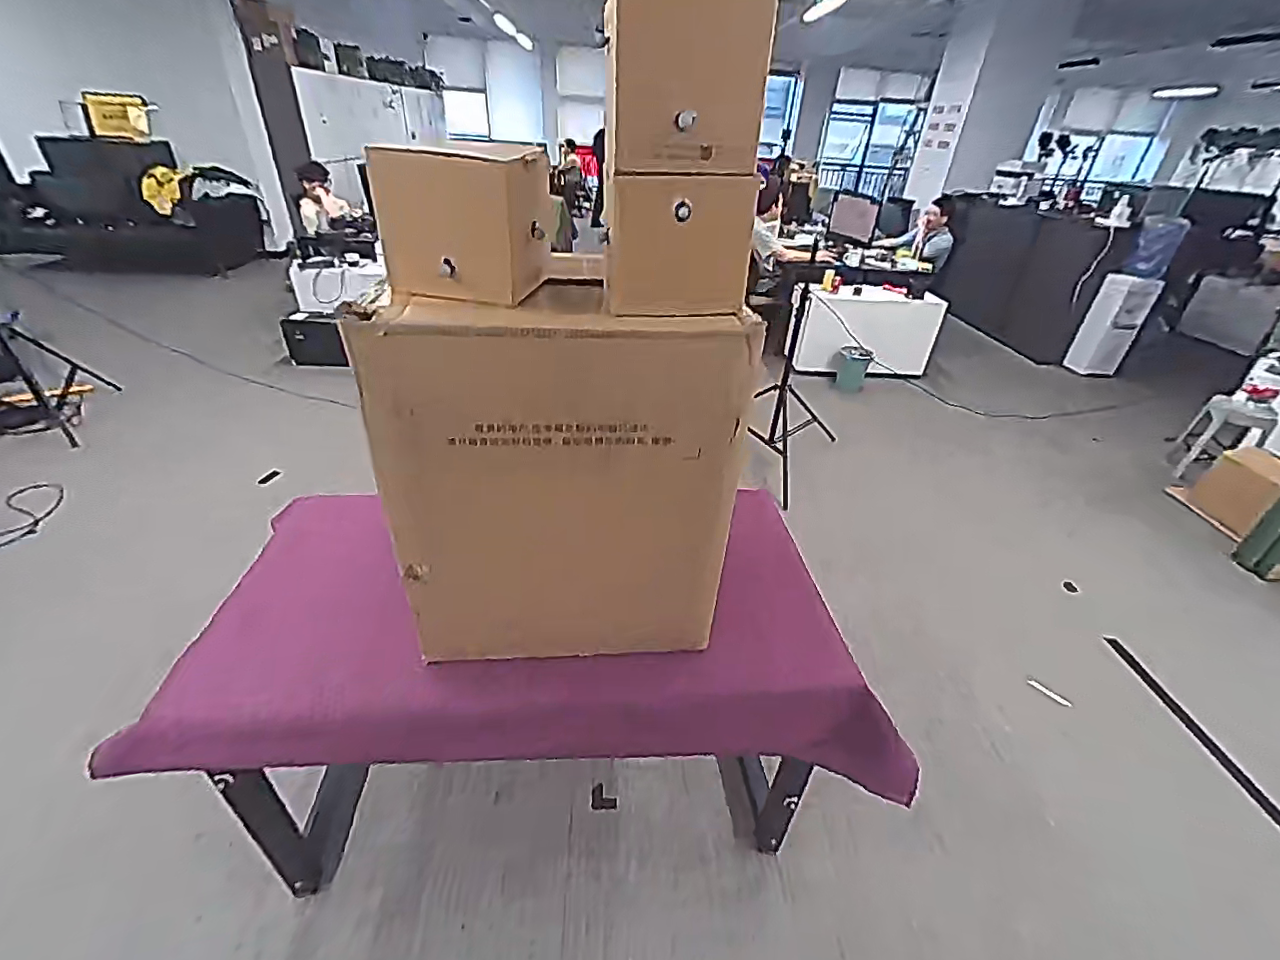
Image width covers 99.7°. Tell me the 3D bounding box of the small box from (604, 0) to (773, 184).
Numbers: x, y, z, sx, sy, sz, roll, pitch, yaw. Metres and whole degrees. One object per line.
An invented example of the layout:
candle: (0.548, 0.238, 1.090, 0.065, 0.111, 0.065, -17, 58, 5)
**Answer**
small box: (0.042, -0.457, 0.642, 0.168, 0.176, 0.179, -3, 35, -6)

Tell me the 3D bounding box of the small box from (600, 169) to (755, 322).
small box: (0.040, -0.318, 0.731, 0.179, 0.176, 0.168, -2, 34, -7)

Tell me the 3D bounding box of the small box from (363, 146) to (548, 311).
small box: (-0.229, -0.338, 0.728, 0.179, 0.176, 0.168, 9, 35, 5)
